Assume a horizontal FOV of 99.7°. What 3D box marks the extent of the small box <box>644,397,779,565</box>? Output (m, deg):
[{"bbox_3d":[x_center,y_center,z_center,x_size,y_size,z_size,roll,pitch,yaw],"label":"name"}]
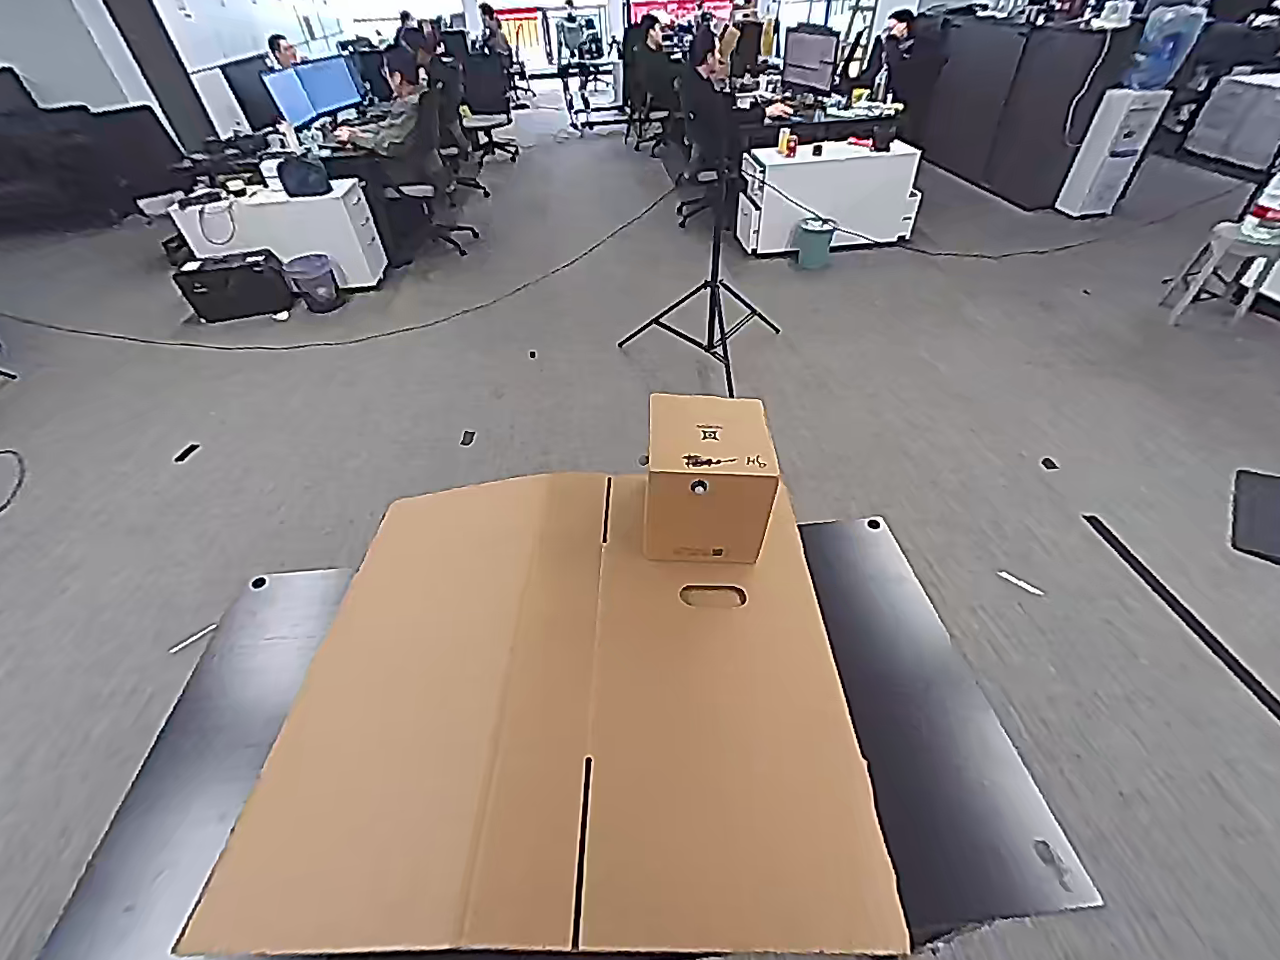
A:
[{"bbox_3d":[0.091,0.000,0.782,0.168,0.176,0.179,2,41,0],"label":"small box"}]
